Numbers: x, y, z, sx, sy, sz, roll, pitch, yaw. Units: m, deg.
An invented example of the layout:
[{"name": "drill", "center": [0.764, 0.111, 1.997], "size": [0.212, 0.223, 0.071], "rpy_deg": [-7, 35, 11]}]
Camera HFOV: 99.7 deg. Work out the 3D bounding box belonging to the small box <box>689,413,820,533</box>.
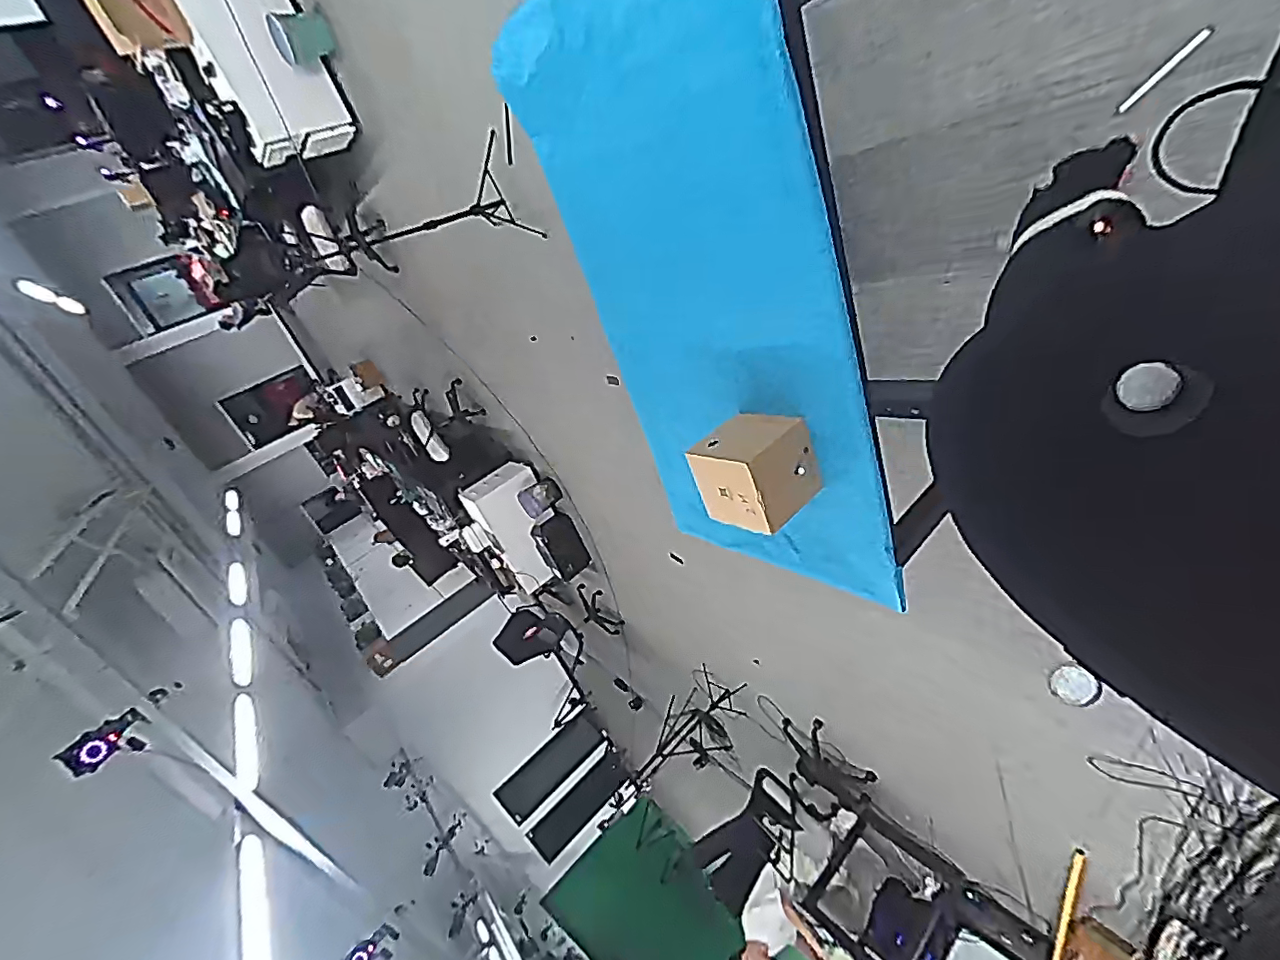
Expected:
[{"name": "small box", "center": [0.234, -0.023, 1.094], "size": [0.179, 0.176, 0.168], "rpy_deg": [16, 136, 49]}]
